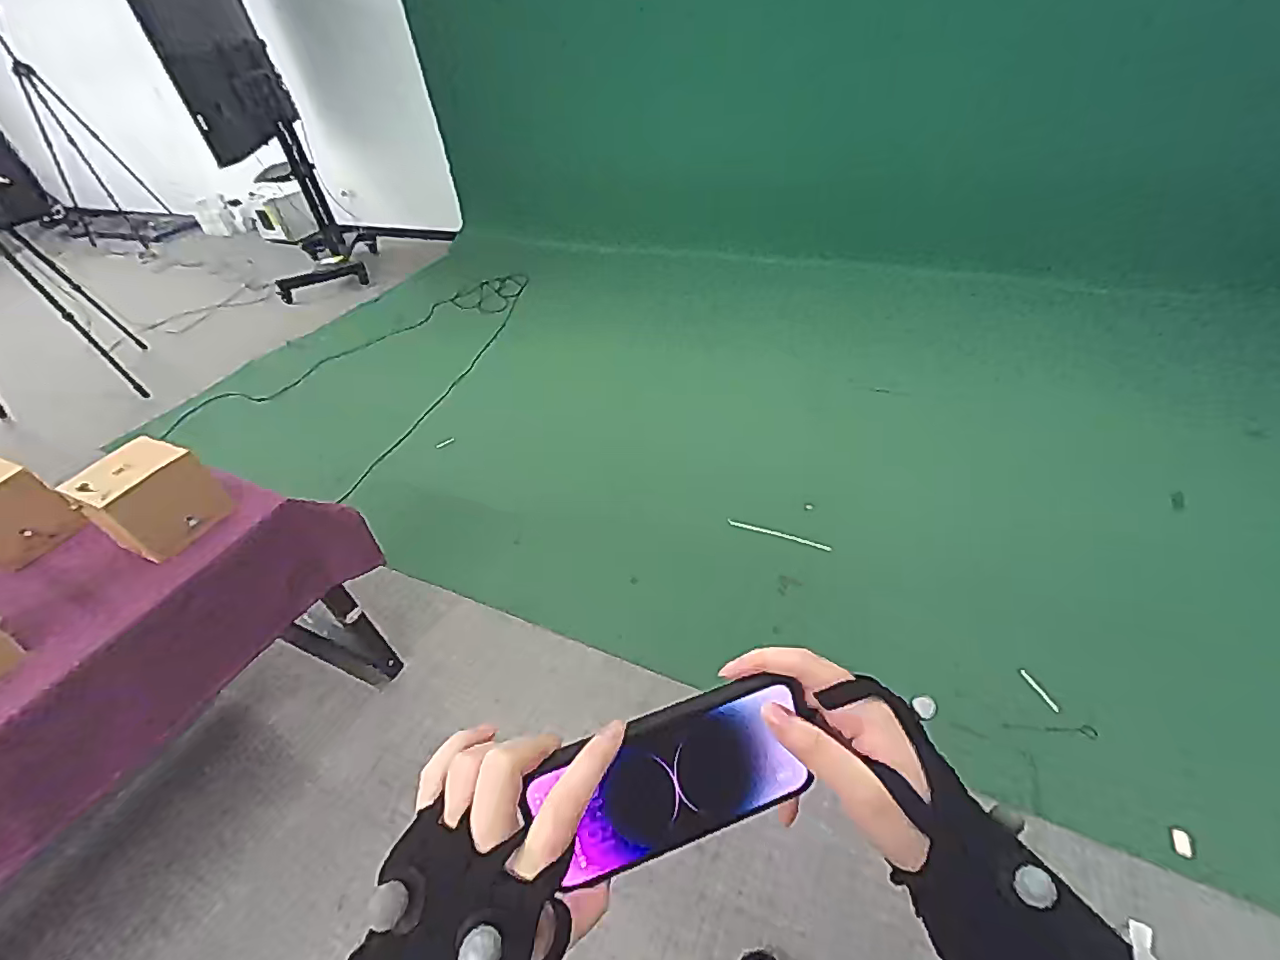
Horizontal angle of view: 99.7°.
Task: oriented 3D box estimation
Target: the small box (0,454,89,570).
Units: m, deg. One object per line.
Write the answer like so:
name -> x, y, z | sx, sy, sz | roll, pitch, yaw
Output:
small box -> -1.347, 0.066, 1.138 | 0.179, 0.176, 0.168 | 13, 47, 20

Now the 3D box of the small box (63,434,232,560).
small box -> -1.003, 0.034, 1.125 | 0.168, 0.176, 0.179 | 13, 46, 22

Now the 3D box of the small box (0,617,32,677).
small box -> -1.191, 0.279, 0.886 | 0.168, 0.176, 0.179 | 17, 47, 24
